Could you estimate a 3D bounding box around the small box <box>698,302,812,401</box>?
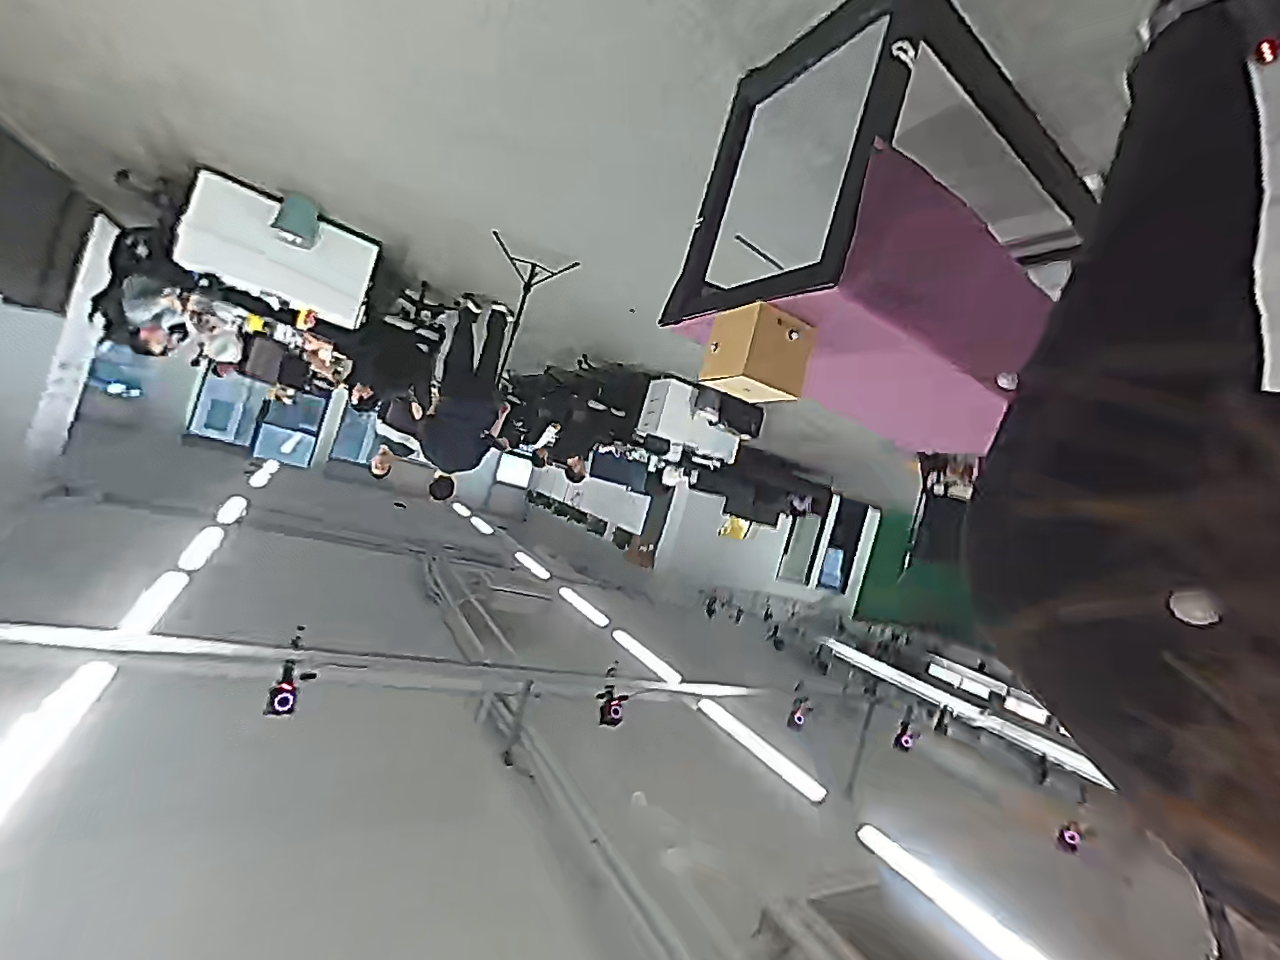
[{"bbox_3d":[0.263,-0.288,1.239,0.168,0.176,0.179,15,180,-27],"label":"small box"}]
